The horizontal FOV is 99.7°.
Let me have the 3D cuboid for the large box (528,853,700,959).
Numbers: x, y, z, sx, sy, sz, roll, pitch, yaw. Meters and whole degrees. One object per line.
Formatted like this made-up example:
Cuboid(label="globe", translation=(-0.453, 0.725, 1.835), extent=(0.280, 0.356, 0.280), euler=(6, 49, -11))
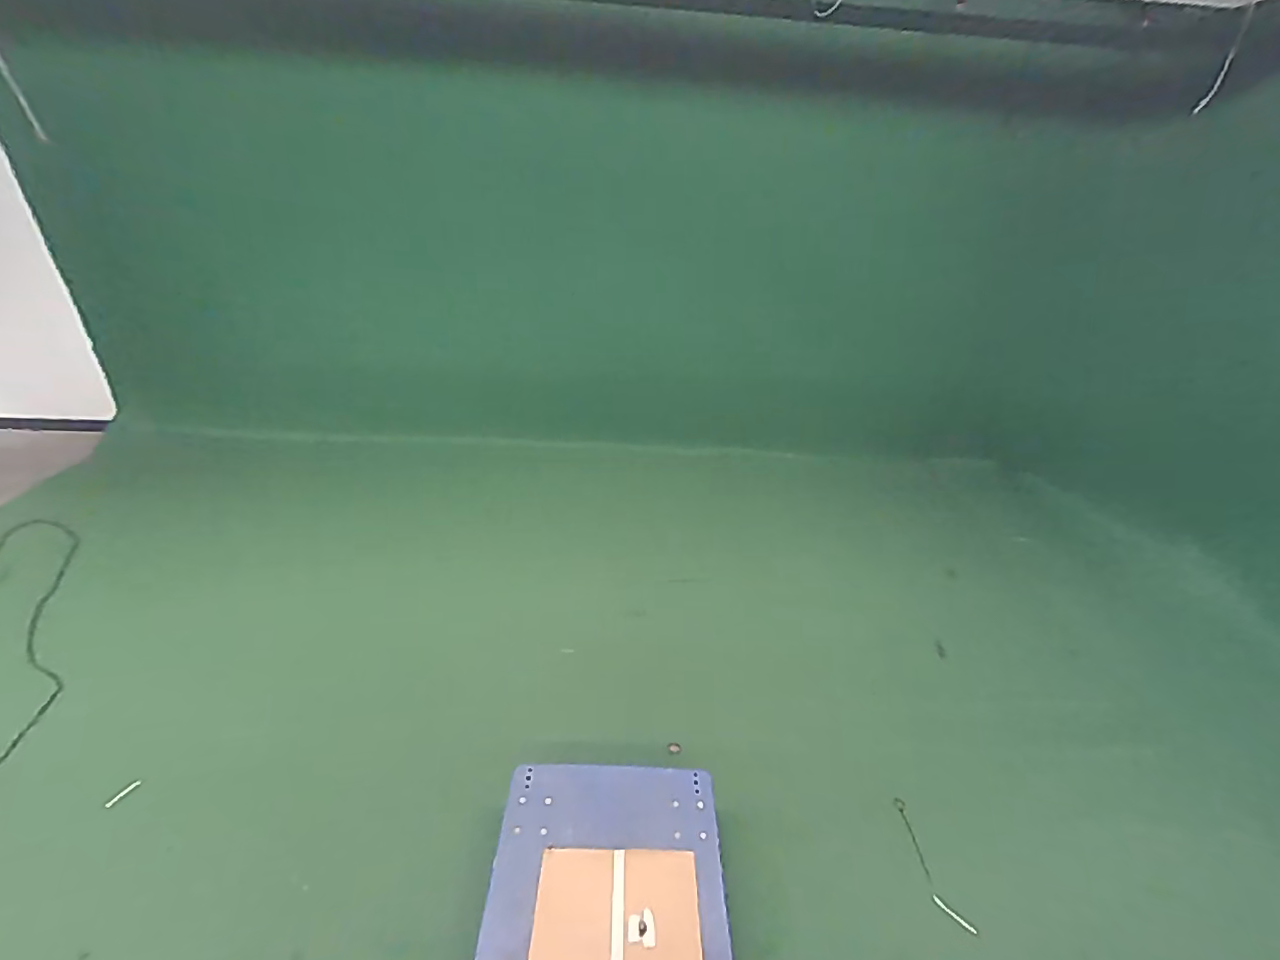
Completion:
Cuboid(label="large box", translation=(-0.052, 0.997, 1.008), extent=(0.320, 0.320, 0.408), euler=(3, 28, -2))
